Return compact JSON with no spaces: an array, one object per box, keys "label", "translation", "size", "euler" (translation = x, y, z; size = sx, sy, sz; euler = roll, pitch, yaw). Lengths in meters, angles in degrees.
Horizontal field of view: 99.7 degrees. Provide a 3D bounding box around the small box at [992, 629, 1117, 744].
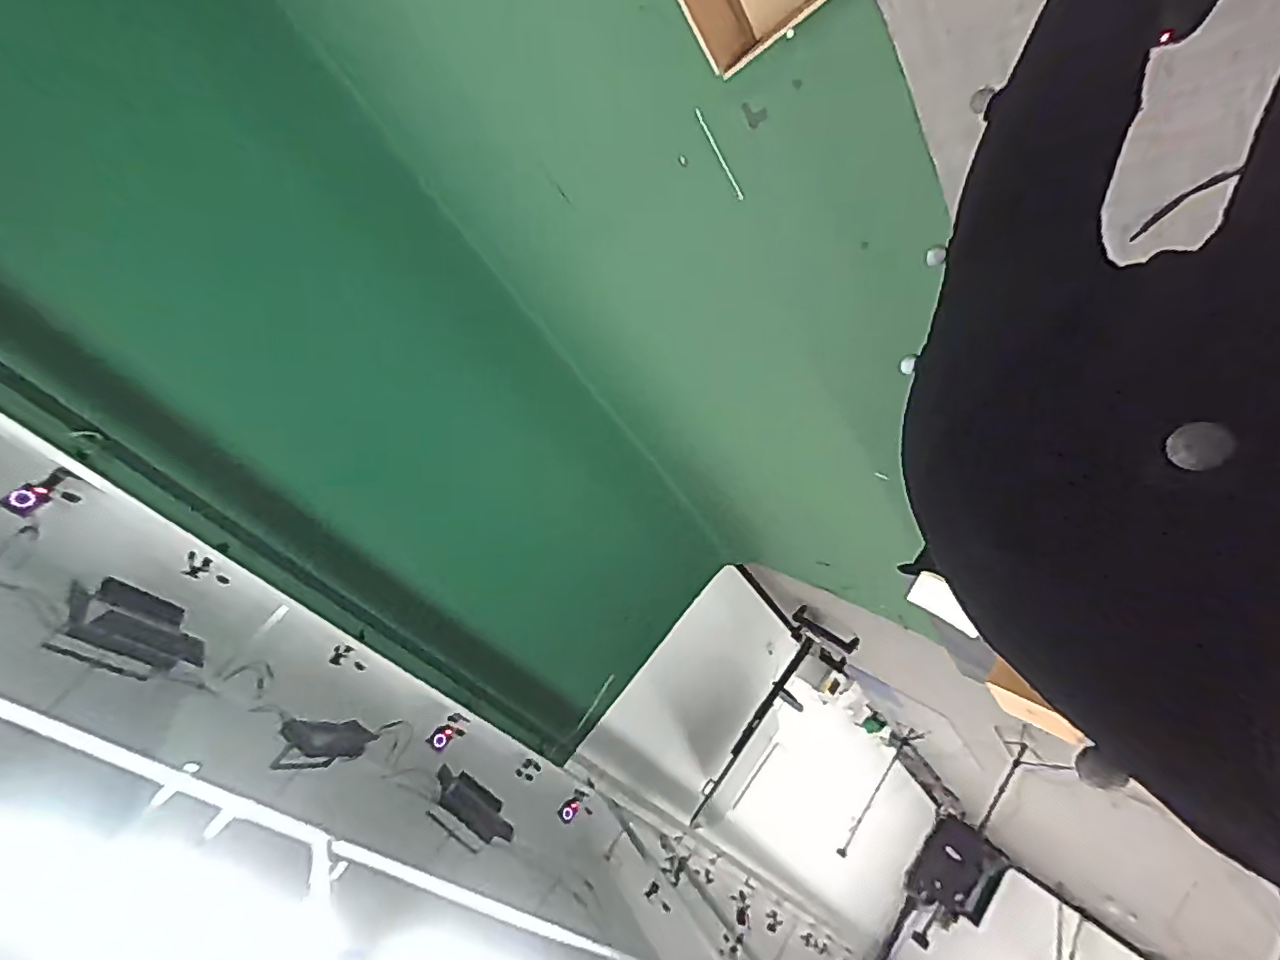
[{"label":"small box","translation":[1.000,0.487,1.304],"size":[0.168,0.176,0.179],"euler":[48,164,-28]}]
